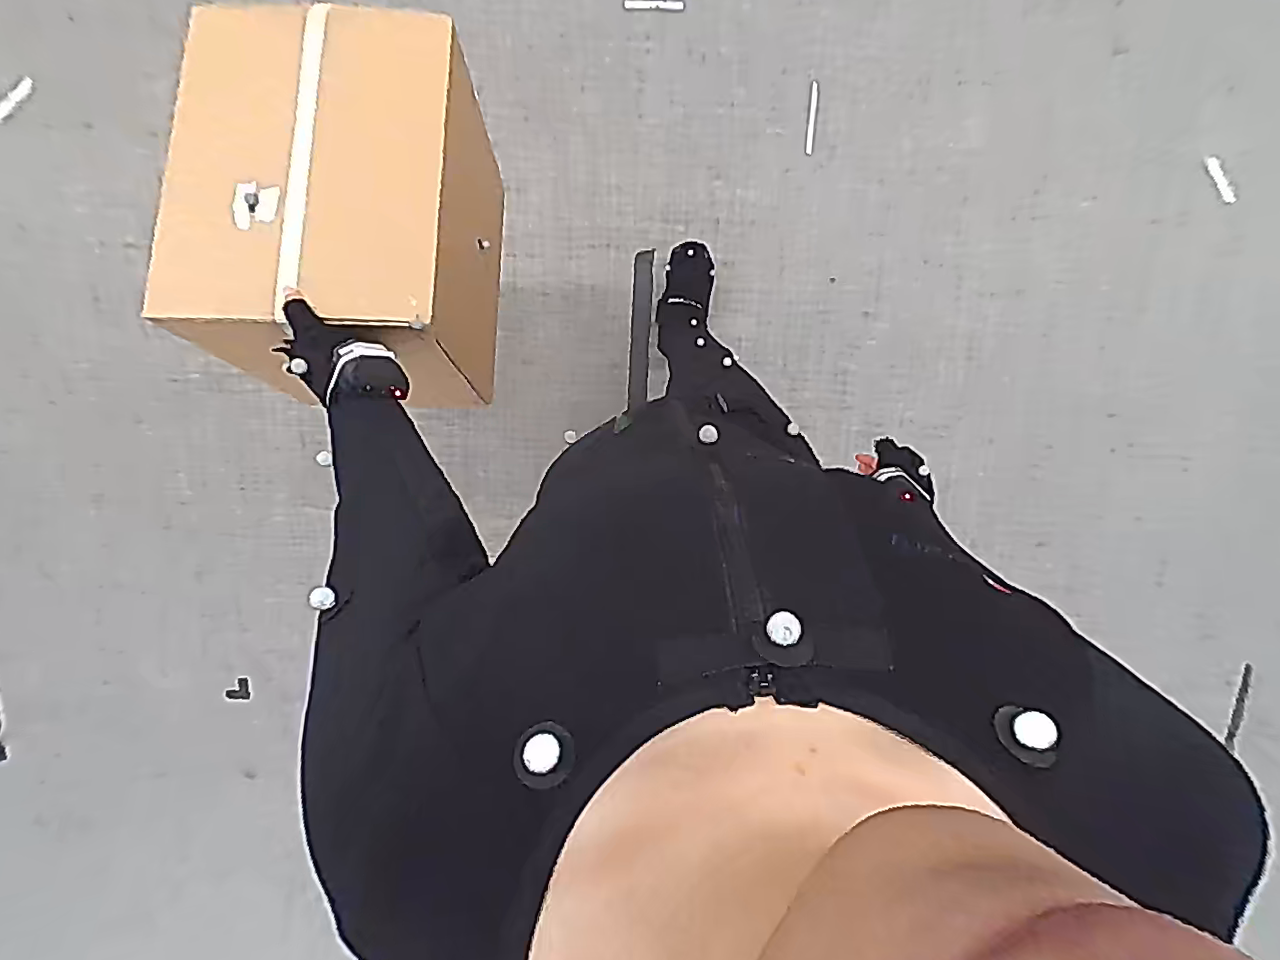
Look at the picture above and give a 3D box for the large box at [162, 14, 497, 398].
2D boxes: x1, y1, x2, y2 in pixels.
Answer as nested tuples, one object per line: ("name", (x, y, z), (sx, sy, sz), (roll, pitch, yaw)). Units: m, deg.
("large box", (-0.400, -0.358, 0.794), (0.320, 0.320, 0.408), (1, 82, -1))
